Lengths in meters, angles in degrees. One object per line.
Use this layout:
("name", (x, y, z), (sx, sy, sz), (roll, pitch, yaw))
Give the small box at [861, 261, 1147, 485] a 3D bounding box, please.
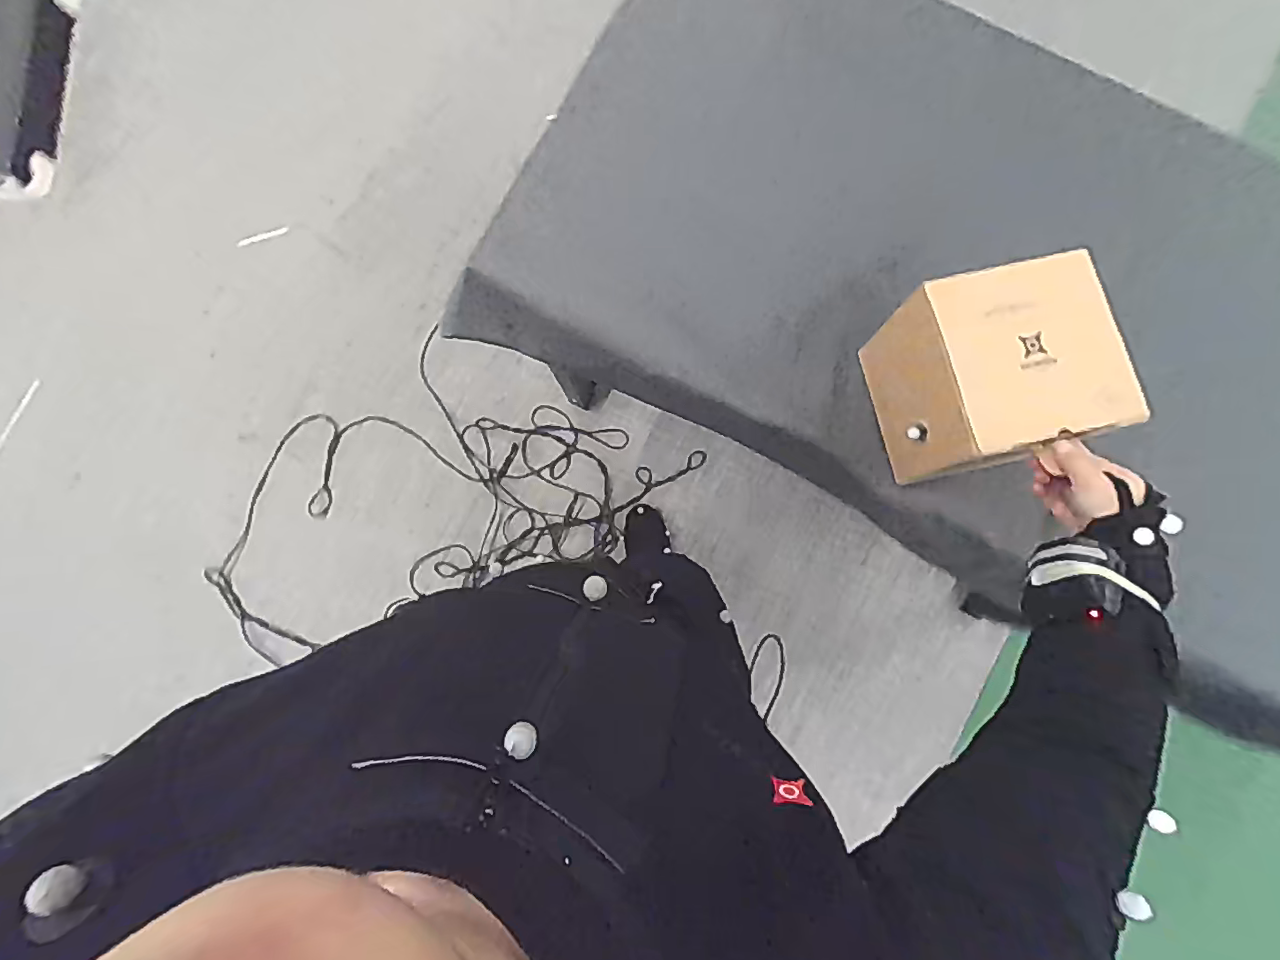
("small box", (0.364, -0.098, 0.579), (0.168, 0.176, 0.179), (-10, 78, -1))
